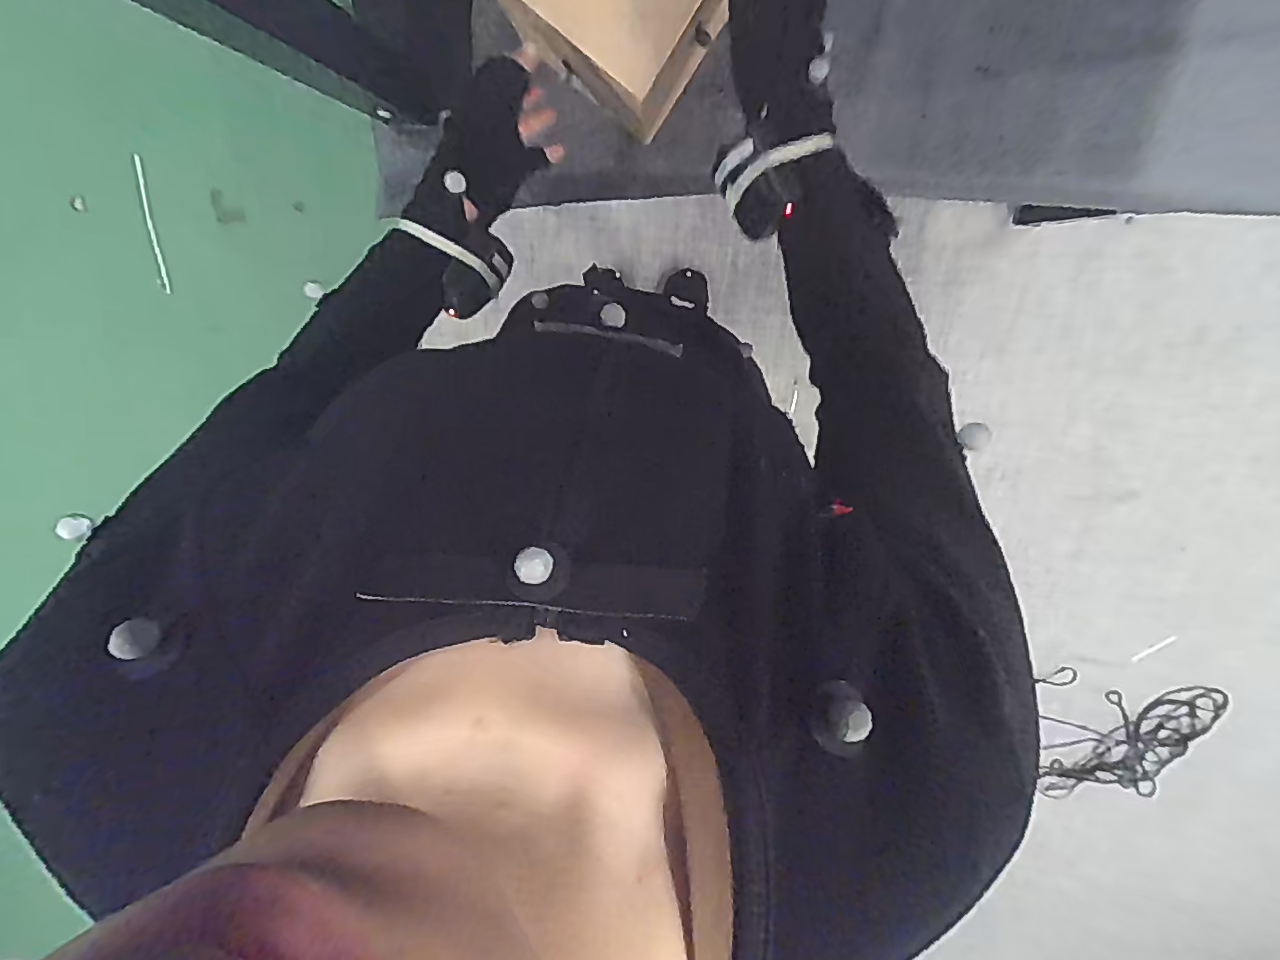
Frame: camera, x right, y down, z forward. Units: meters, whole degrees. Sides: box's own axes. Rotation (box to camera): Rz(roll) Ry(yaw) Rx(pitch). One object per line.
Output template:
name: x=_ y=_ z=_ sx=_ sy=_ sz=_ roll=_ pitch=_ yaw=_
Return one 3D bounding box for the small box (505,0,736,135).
small box: x=-0.010 y=-0.453 z=0.484 sx=0.168 sy=0.176 sz=0.179 roll=34 pitch=108 yaw=-11
